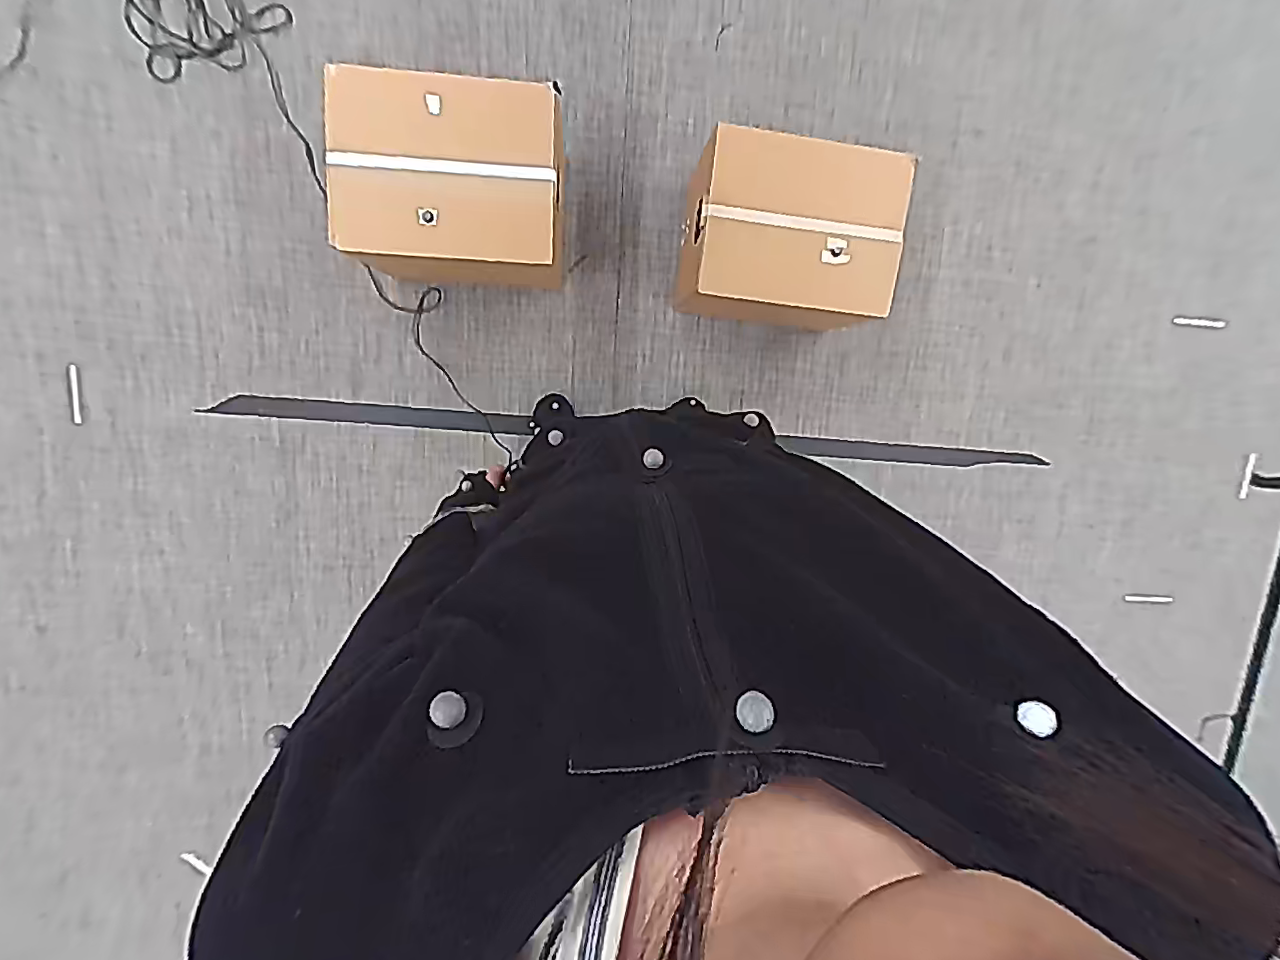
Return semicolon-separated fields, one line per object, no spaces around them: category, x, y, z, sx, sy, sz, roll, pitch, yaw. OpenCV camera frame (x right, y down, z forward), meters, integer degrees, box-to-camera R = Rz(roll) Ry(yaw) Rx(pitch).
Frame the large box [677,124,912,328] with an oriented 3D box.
large box;0.314;-0.537;1.218;0.408;0.320;0.320;6;100;-7
